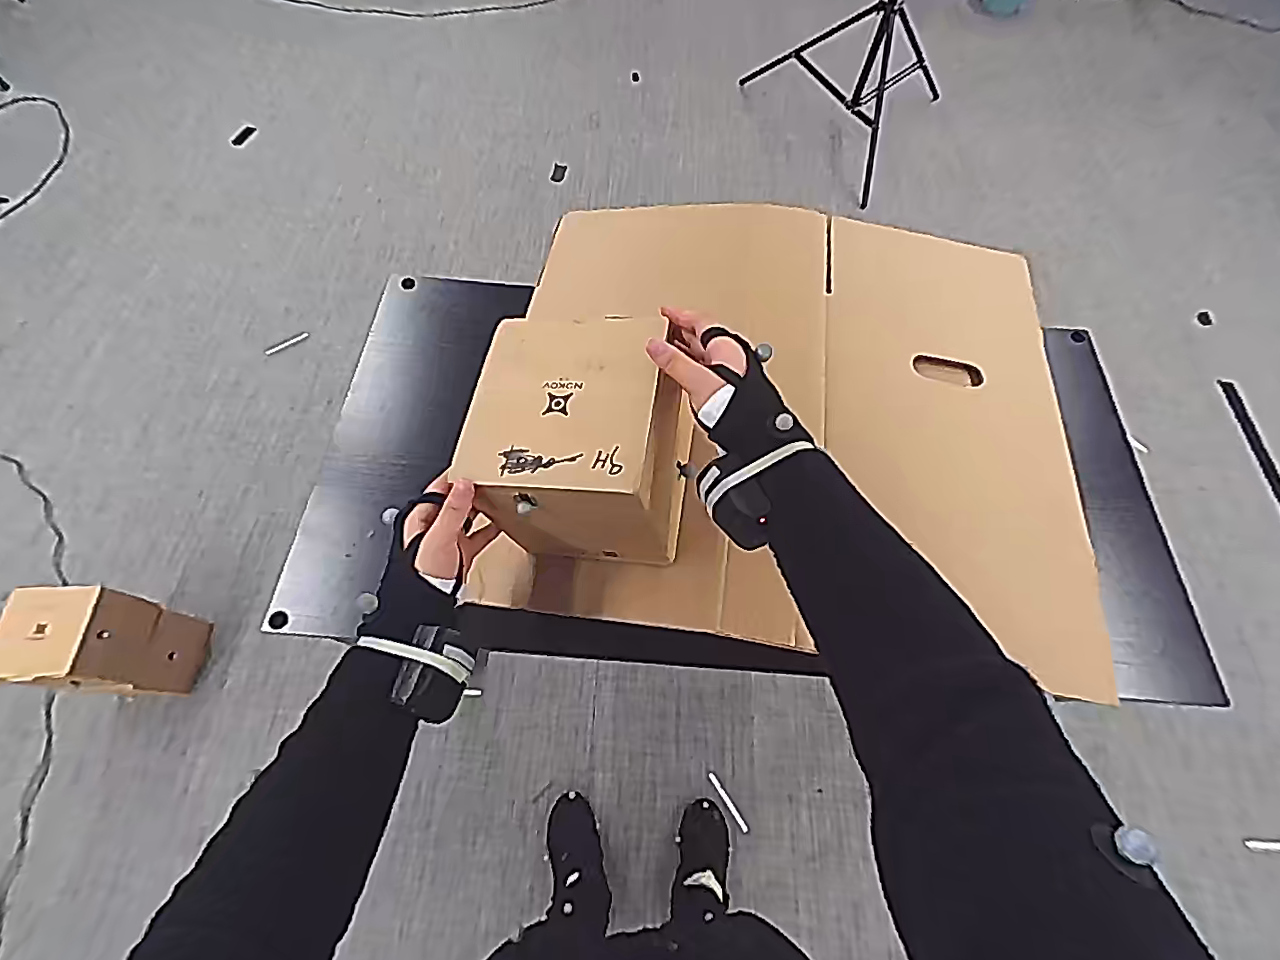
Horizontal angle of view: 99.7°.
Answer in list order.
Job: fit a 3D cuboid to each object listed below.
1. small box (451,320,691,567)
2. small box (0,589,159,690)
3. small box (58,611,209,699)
[{"bbox_3d":[-0.047,-0.031,0.526,0.168,0.176,0.179,2,63,15],"label":"small box"},{"bbox_3d":[-1.153,0.333,1.112,0.168,0.176,0.179,-2,63,-4],"label":"small box"},{"bbox_3d":[-1.157,0.409,1.256,0.168,0.176,0.179,0,65,-2],"label":"small box"}]
